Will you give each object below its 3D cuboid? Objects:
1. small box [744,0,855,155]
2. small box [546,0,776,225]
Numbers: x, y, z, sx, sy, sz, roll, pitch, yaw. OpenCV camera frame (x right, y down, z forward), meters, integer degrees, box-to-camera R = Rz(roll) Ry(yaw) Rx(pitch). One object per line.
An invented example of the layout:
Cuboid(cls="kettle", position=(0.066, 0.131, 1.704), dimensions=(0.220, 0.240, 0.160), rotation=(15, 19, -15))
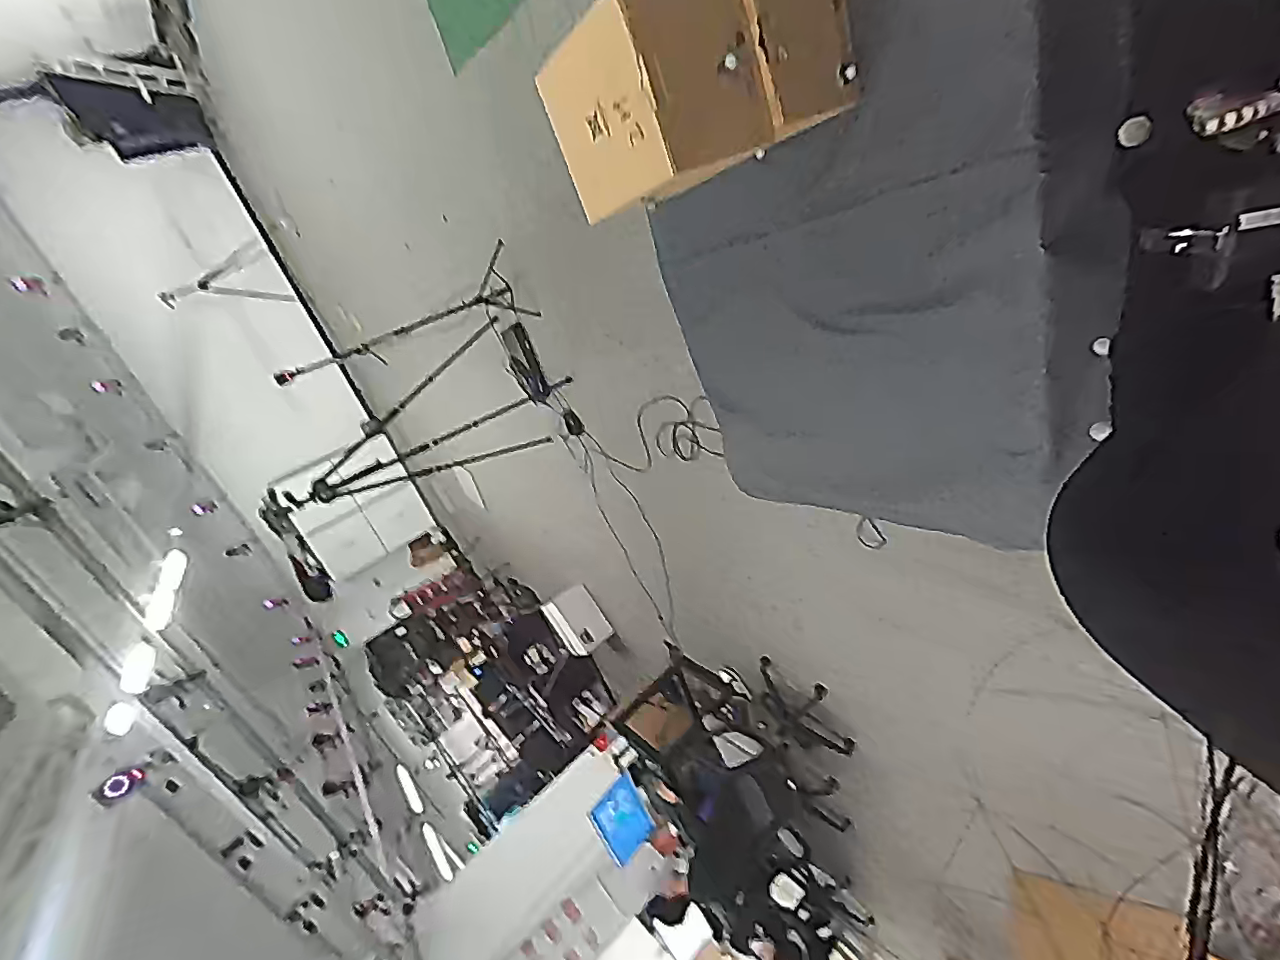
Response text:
Cuboid(cls="small box", position=(0.151, -0.514, 0.689), dimensions=(0.179, 0.176, 0.168), rotation=(12, 130, 55))
Cuboid(cls="small box", position=(0.025, -0.424, 0.630), dimensions=(0.179, 0.176, 0.168), rotation=(8, 127, 54))
